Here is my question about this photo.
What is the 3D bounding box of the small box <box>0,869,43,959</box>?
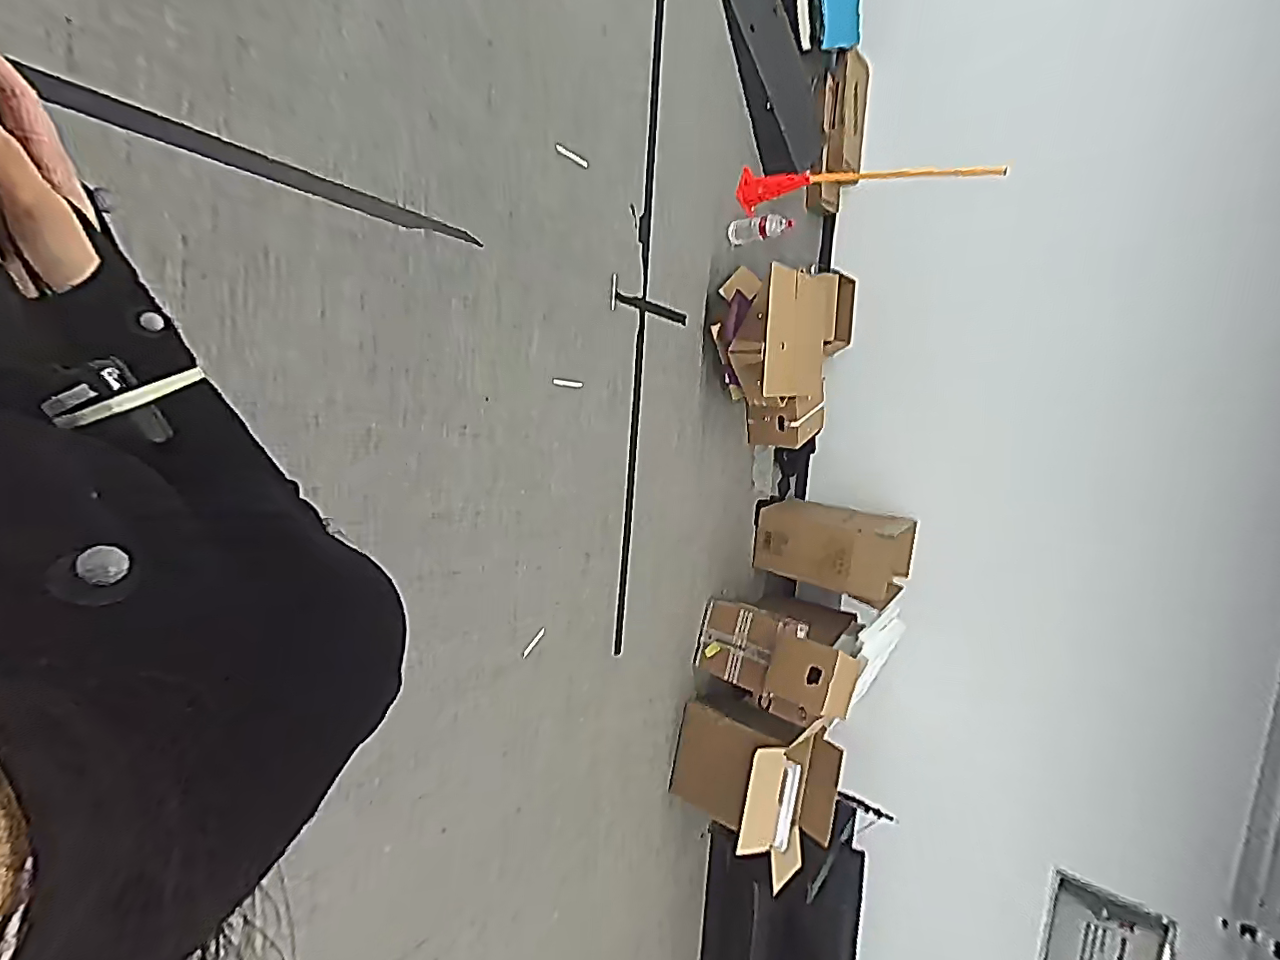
[{"bbox_3d":[-1.224,0.873,0.988,0.168,0.176,0.179,0,97,-53],"label":"small box"}]
